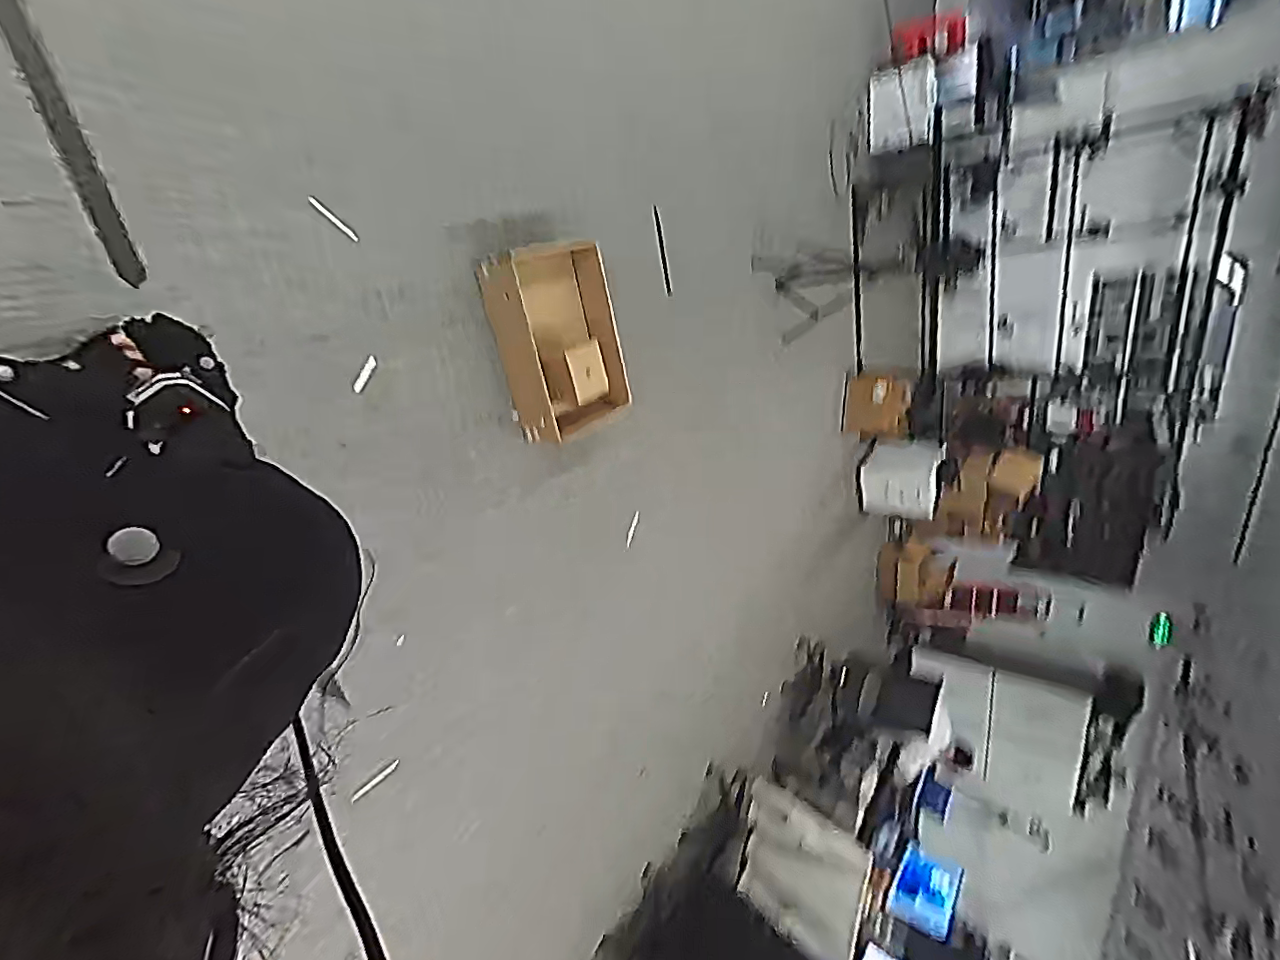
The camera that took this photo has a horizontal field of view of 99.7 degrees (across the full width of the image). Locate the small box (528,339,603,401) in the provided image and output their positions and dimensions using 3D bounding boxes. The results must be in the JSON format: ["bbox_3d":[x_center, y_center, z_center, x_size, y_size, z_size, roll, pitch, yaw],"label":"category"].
[{"bbox_3d":[-0.263,-0.387,1.903,0.168,0.176,0.179,-38,122,-42],"label":"small box"}]
